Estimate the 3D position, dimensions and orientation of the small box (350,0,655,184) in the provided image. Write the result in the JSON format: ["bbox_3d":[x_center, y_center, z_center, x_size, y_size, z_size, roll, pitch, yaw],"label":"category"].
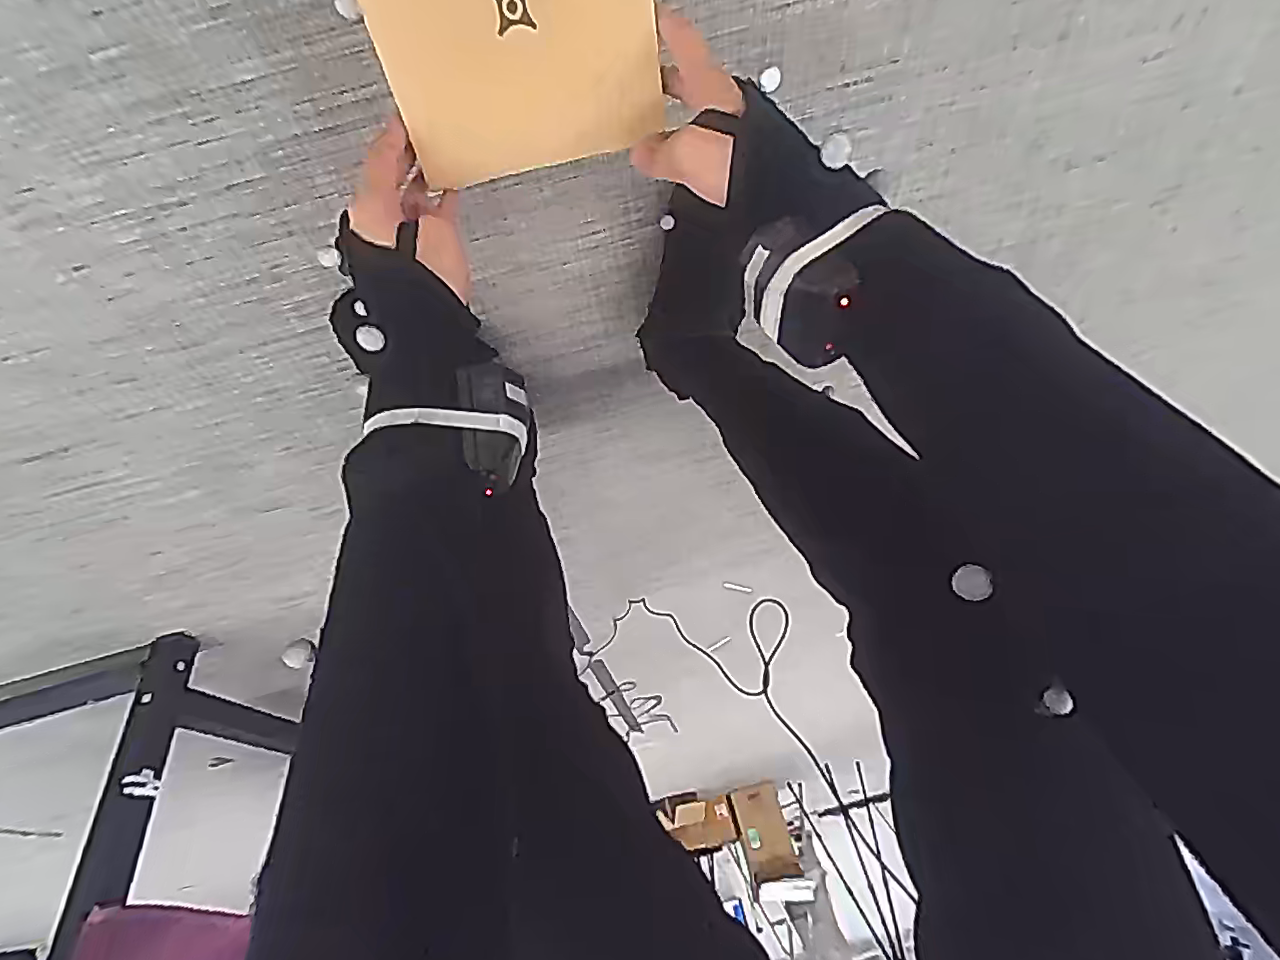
[{"bbox_3d":[-0.093,-0.329,0.358,0.168,0.176,0.179,-14,135,-3],"label":"small box"}]
